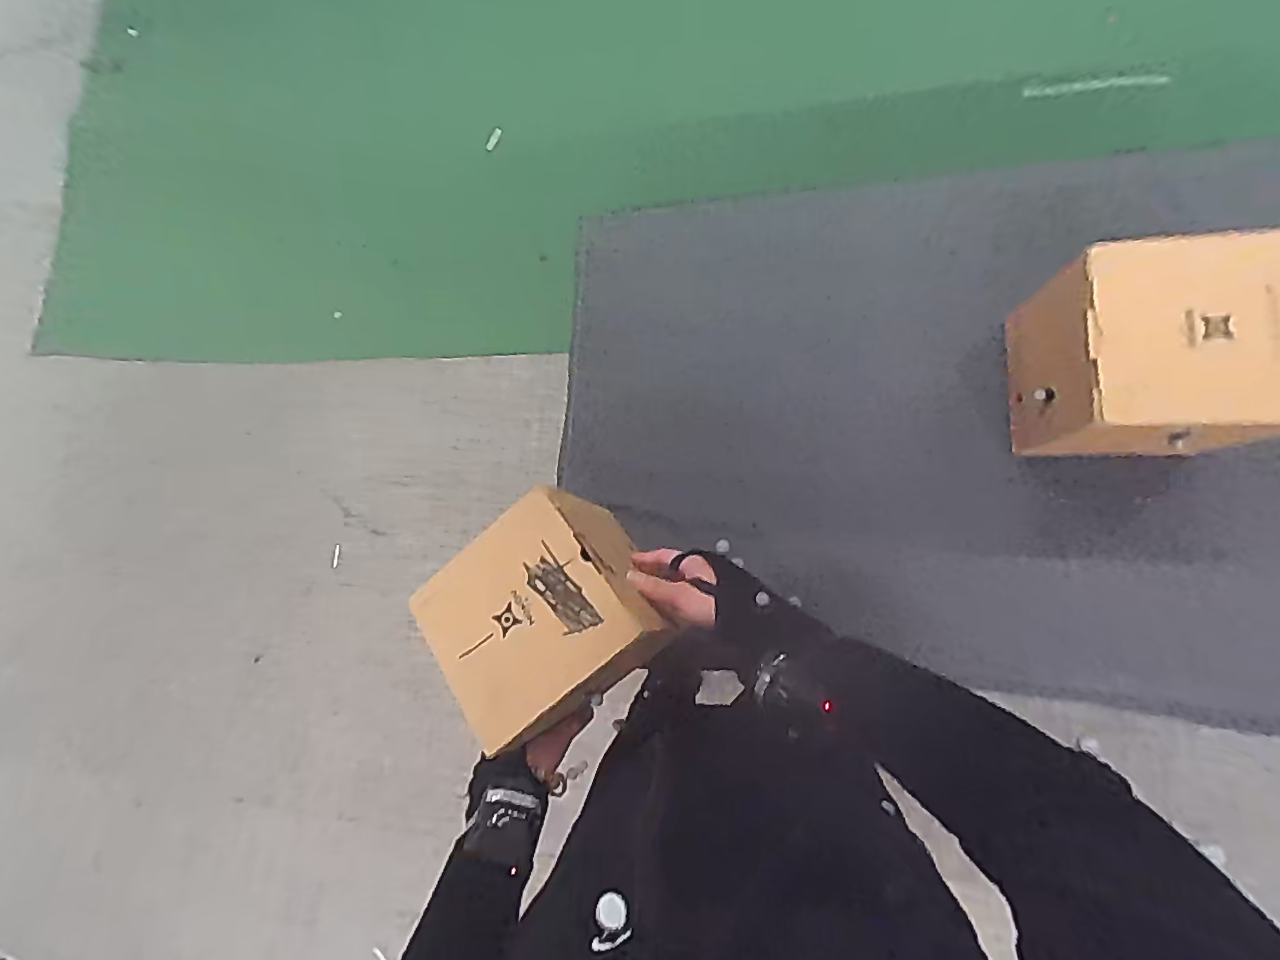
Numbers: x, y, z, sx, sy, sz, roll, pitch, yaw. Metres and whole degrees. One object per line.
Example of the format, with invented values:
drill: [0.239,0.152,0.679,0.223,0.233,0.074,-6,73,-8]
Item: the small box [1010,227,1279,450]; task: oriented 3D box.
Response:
small box: [0.494,-0.122,0.535,0.179,0.176,0.168,-1,85,11]
